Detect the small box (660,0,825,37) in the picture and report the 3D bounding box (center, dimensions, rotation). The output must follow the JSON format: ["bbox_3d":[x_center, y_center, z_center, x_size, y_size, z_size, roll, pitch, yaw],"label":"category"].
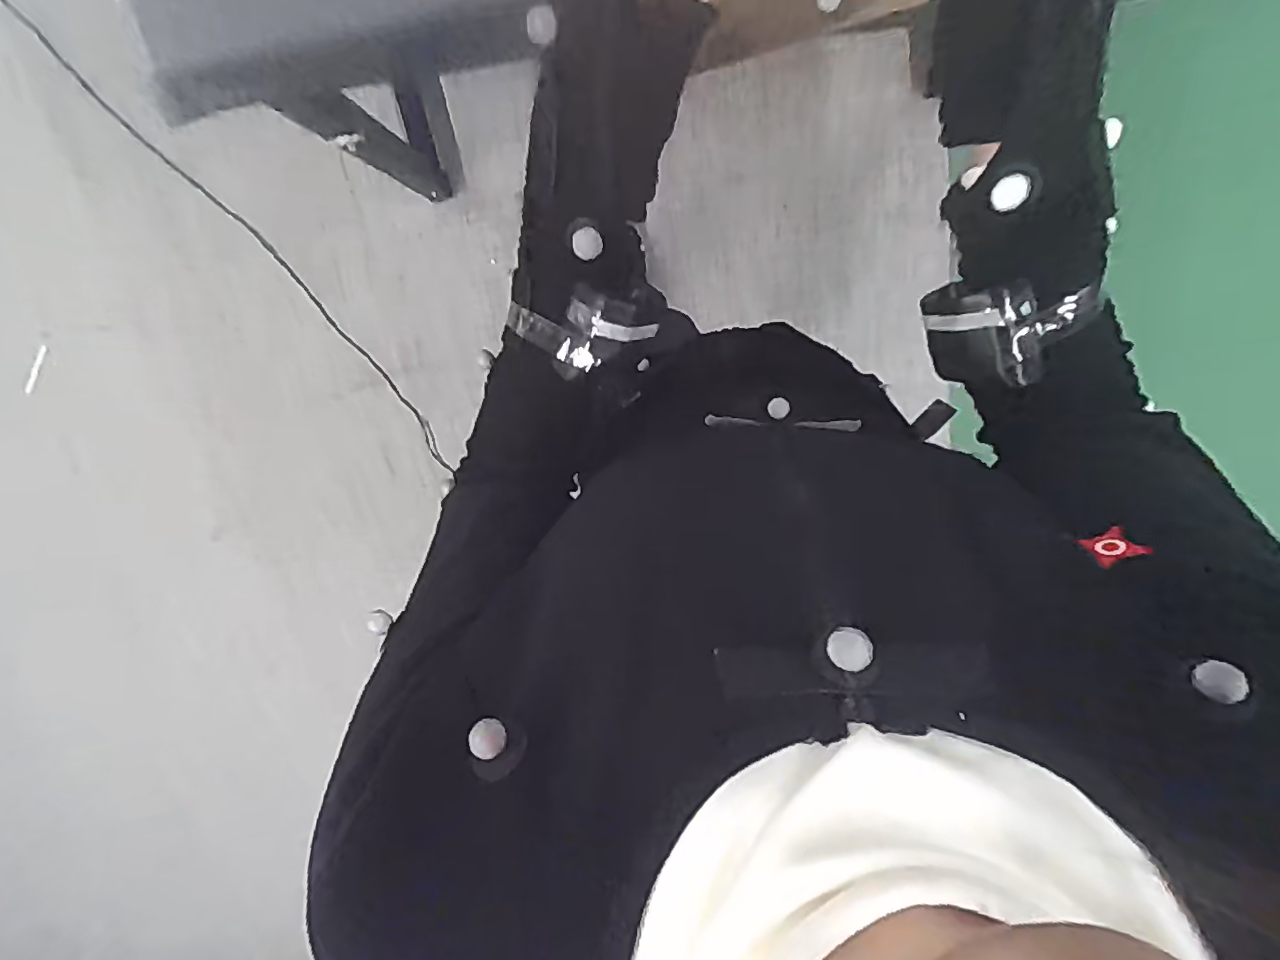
[{"bbox_3d":[0.073,-0.355,0.254,0.168,0.176,0.179,-13,106,9],"label":"small box"}]
